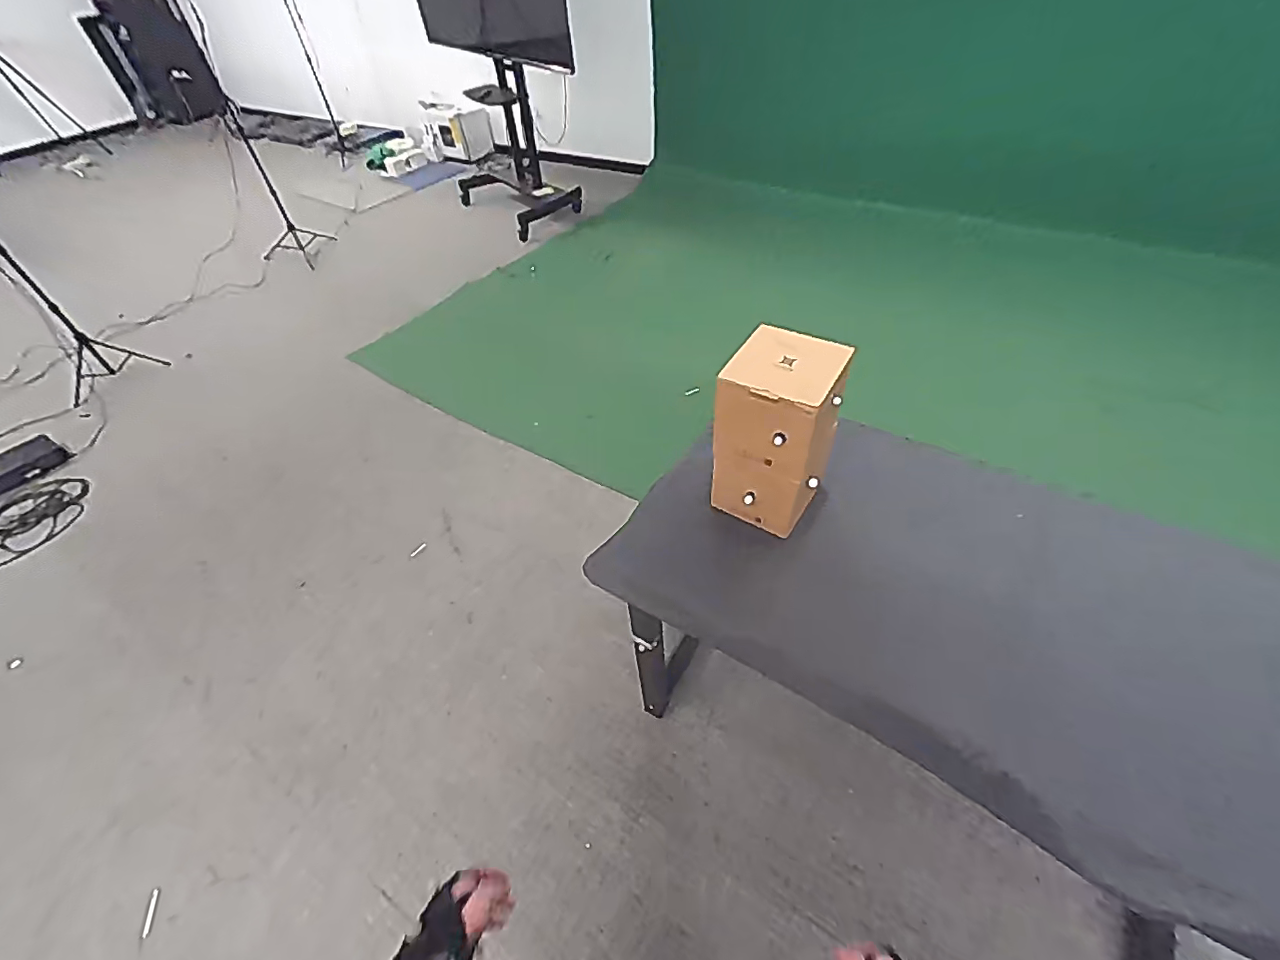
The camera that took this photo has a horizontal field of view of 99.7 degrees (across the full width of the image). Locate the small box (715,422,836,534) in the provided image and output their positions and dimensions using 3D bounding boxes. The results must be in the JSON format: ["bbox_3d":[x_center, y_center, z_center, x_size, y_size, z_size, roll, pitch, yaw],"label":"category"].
[{"bbox_3d":[0.257,-0.026,1.047,0.168,0.176,0.179,25,54,24],"label":"small box"}]

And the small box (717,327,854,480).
[{"bbox_3d":[0.240,-0.128,0.921,0.168,0.176,0.179,23,52,23],"label":"small box"}]
